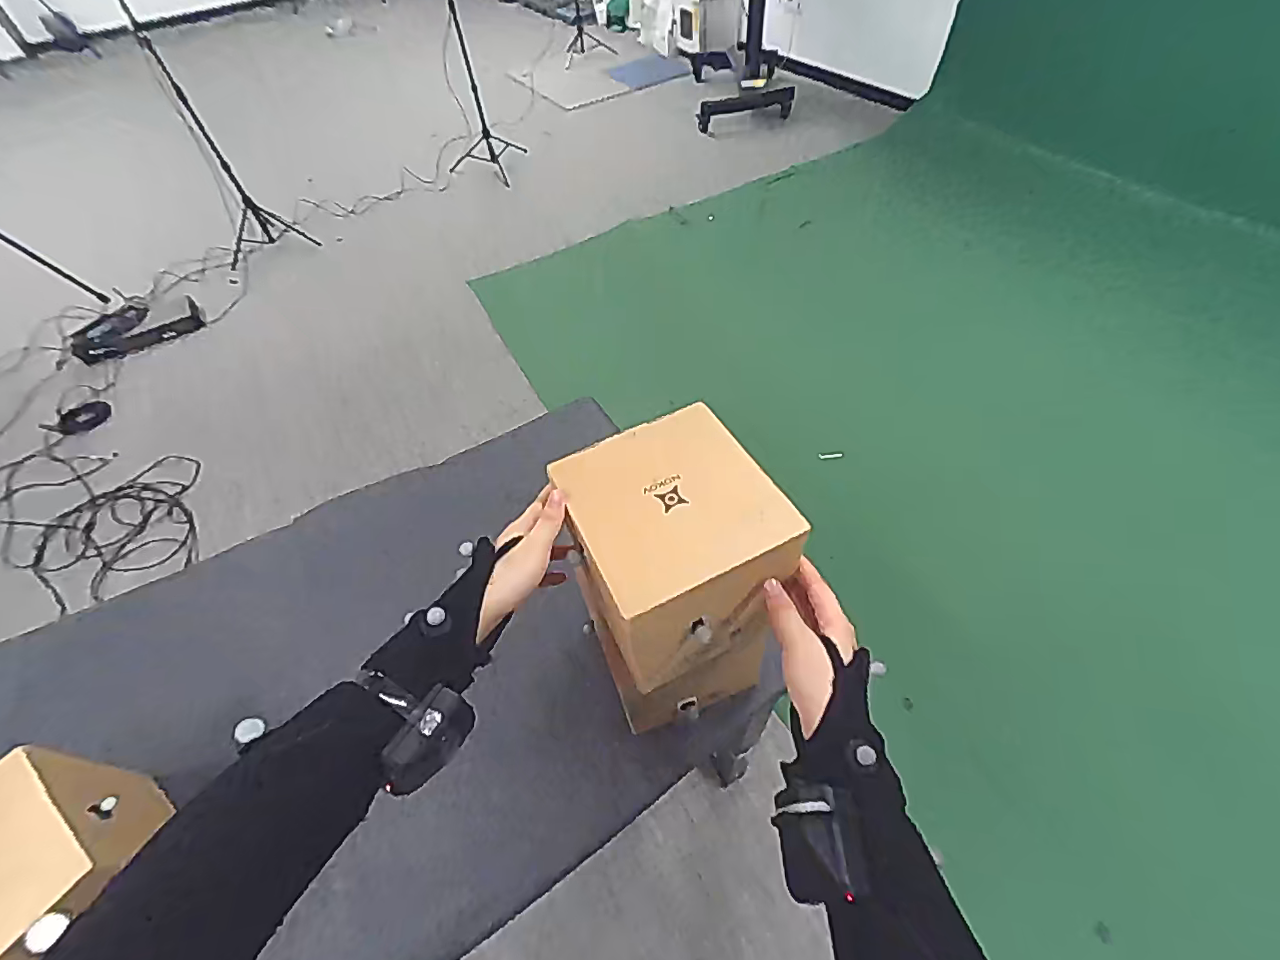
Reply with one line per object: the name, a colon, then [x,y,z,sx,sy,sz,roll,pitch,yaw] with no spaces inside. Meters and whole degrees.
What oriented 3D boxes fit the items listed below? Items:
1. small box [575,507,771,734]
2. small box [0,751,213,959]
small box: [0.035,0.168,0.645,0.168,0.176,0.179,-20,51,-9]
small box: [-0.575,0.401,0.523,0.179,0.176,0.168,27,58,24]
